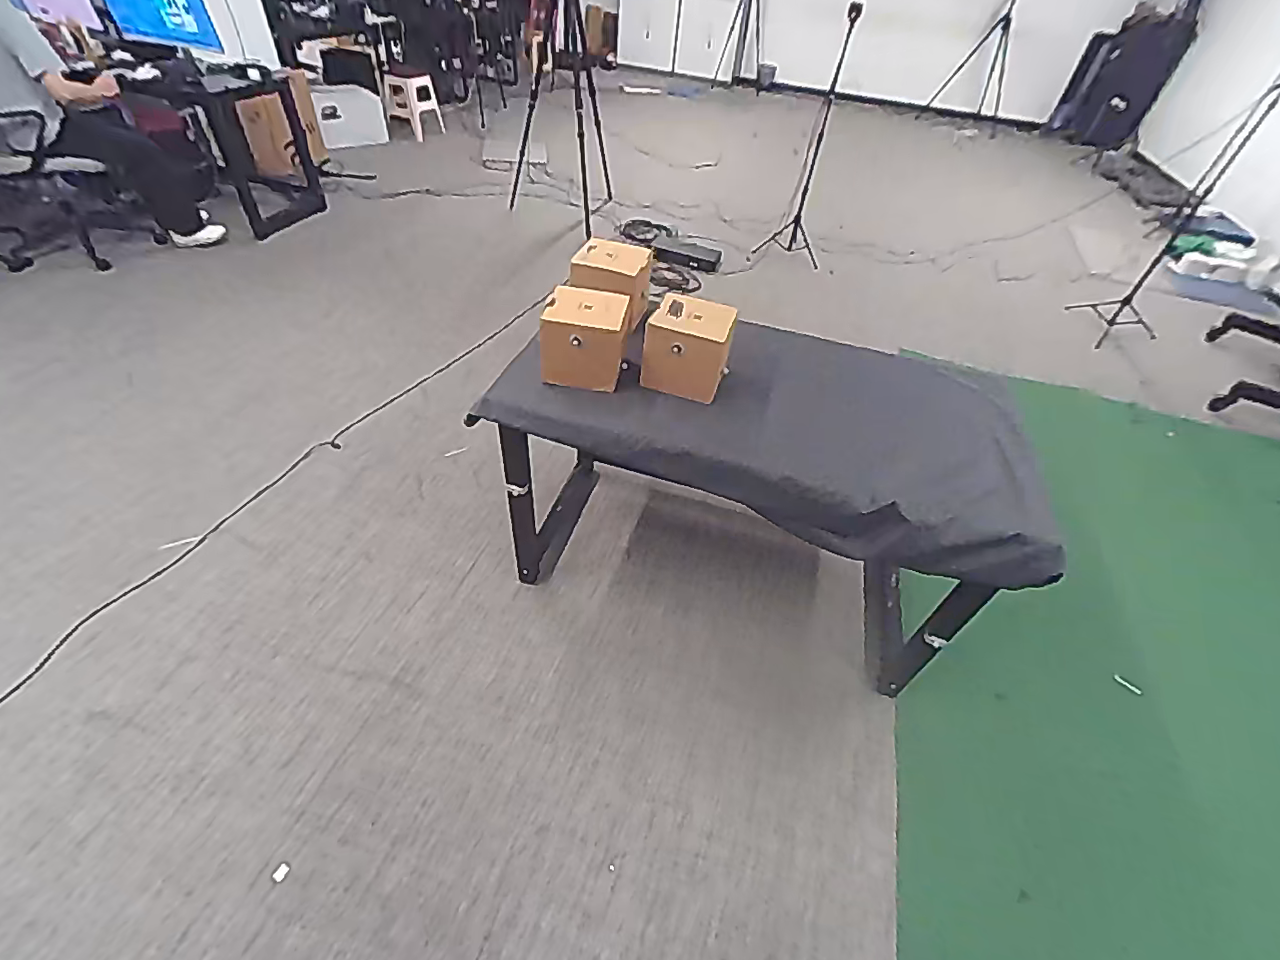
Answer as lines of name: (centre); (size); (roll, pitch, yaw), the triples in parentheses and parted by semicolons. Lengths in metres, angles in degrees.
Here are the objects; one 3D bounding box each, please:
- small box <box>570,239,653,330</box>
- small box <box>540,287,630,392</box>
small box: (-0.078, -0.516, 1.453); (0.179, 0.176, 0.168); (16, 46, 7)
small box: (-0.126, -0.324, 1.258); (0.179, 0.176, 0.168); (10, 45, 0)
